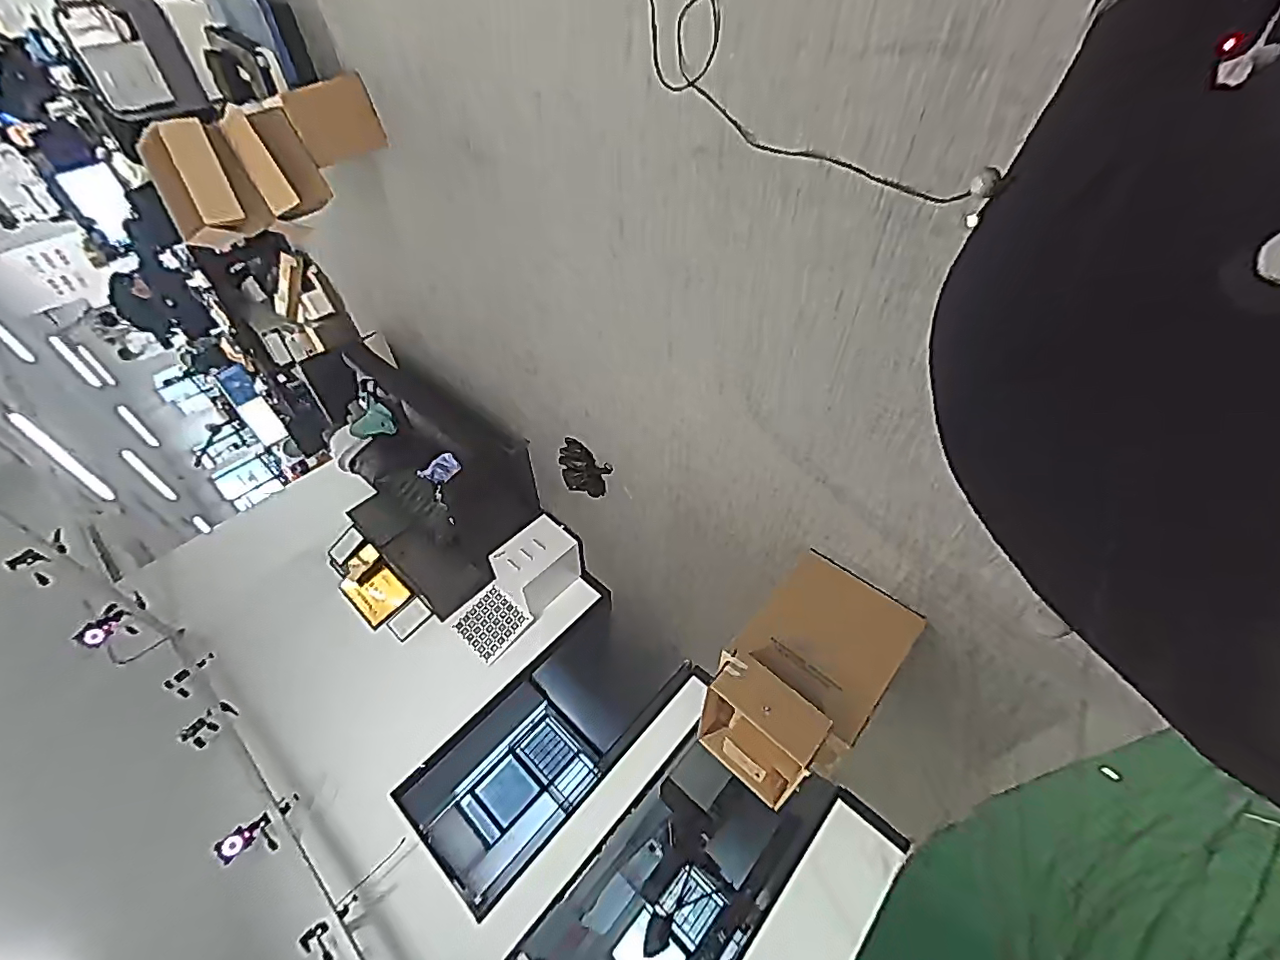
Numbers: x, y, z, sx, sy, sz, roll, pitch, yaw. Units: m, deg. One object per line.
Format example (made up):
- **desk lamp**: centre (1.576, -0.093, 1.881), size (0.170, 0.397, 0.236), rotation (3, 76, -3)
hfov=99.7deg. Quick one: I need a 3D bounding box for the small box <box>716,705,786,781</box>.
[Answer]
- **small box**: centre (0.404, 0.955, 1.980), size (0.179, 0.176, 0.168), rotation (36, 150, 28)
